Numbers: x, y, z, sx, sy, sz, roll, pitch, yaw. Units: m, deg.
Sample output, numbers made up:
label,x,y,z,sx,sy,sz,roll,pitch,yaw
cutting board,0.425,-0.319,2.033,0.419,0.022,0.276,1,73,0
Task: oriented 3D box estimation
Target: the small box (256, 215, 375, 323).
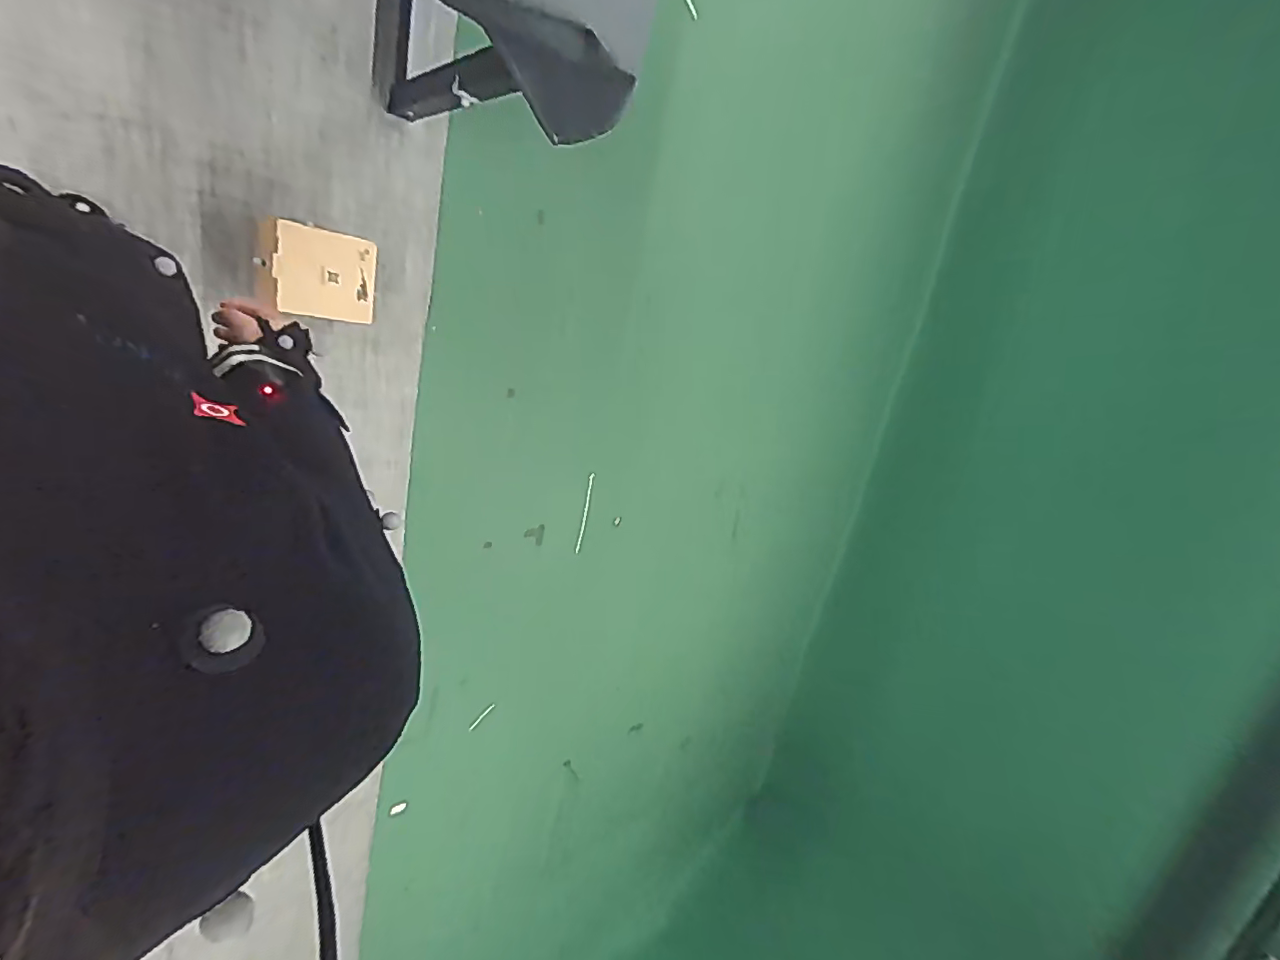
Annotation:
label,x,y,z,sx,sy,sz,roll,pitch,yaw
small box,-0.665,-0.424,1.101,0.179,0.176,0.168,-4,111,-45
